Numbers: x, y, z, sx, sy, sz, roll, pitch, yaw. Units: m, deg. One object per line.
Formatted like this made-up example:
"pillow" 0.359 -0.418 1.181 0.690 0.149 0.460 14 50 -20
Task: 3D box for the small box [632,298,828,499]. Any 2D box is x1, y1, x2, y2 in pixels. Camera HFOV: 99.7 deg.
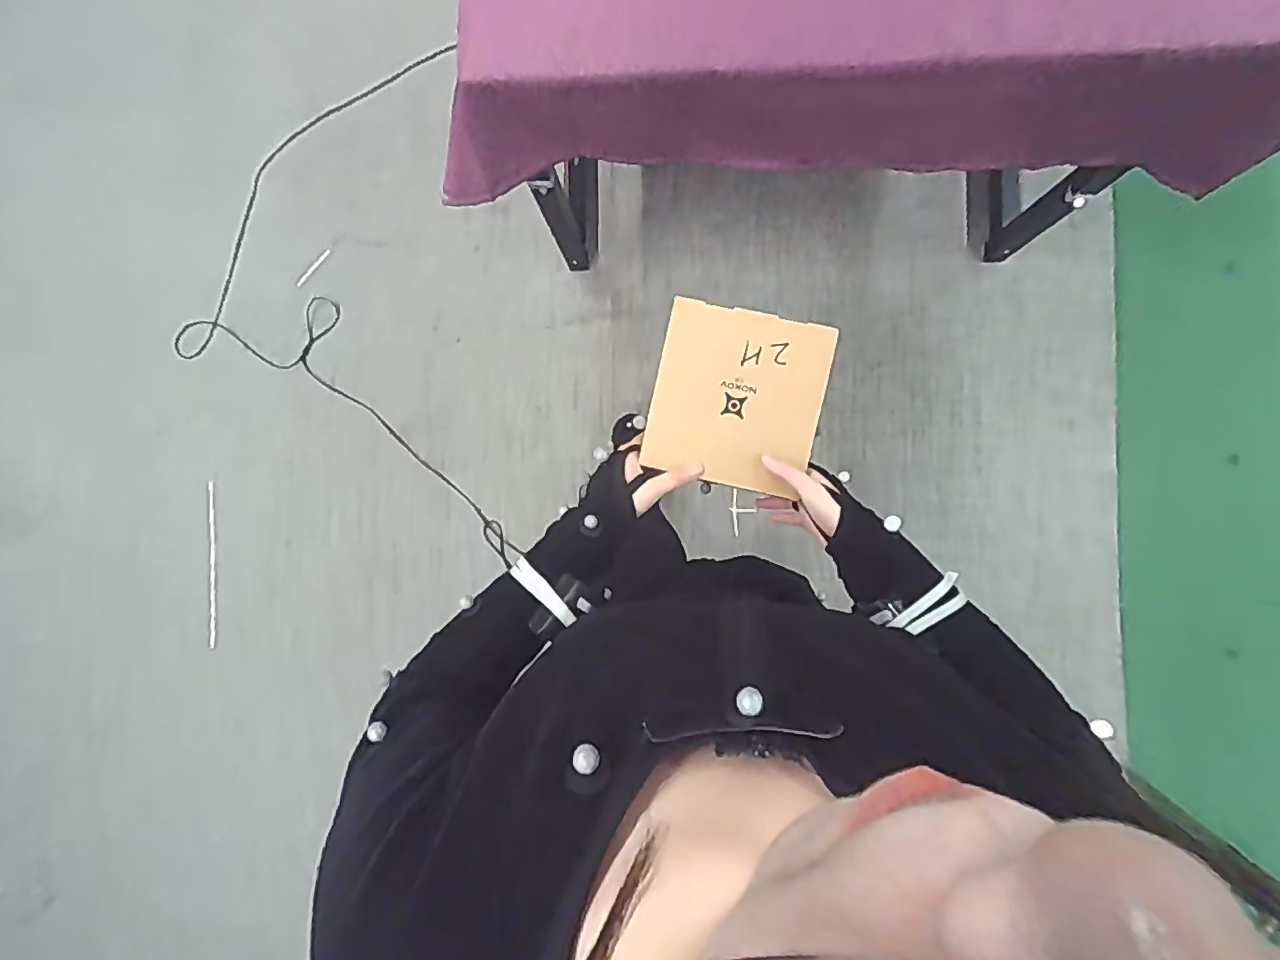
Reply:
"small box" 0.096 -0.085 0.628 0.168 0.176 0.179 14 92 4
